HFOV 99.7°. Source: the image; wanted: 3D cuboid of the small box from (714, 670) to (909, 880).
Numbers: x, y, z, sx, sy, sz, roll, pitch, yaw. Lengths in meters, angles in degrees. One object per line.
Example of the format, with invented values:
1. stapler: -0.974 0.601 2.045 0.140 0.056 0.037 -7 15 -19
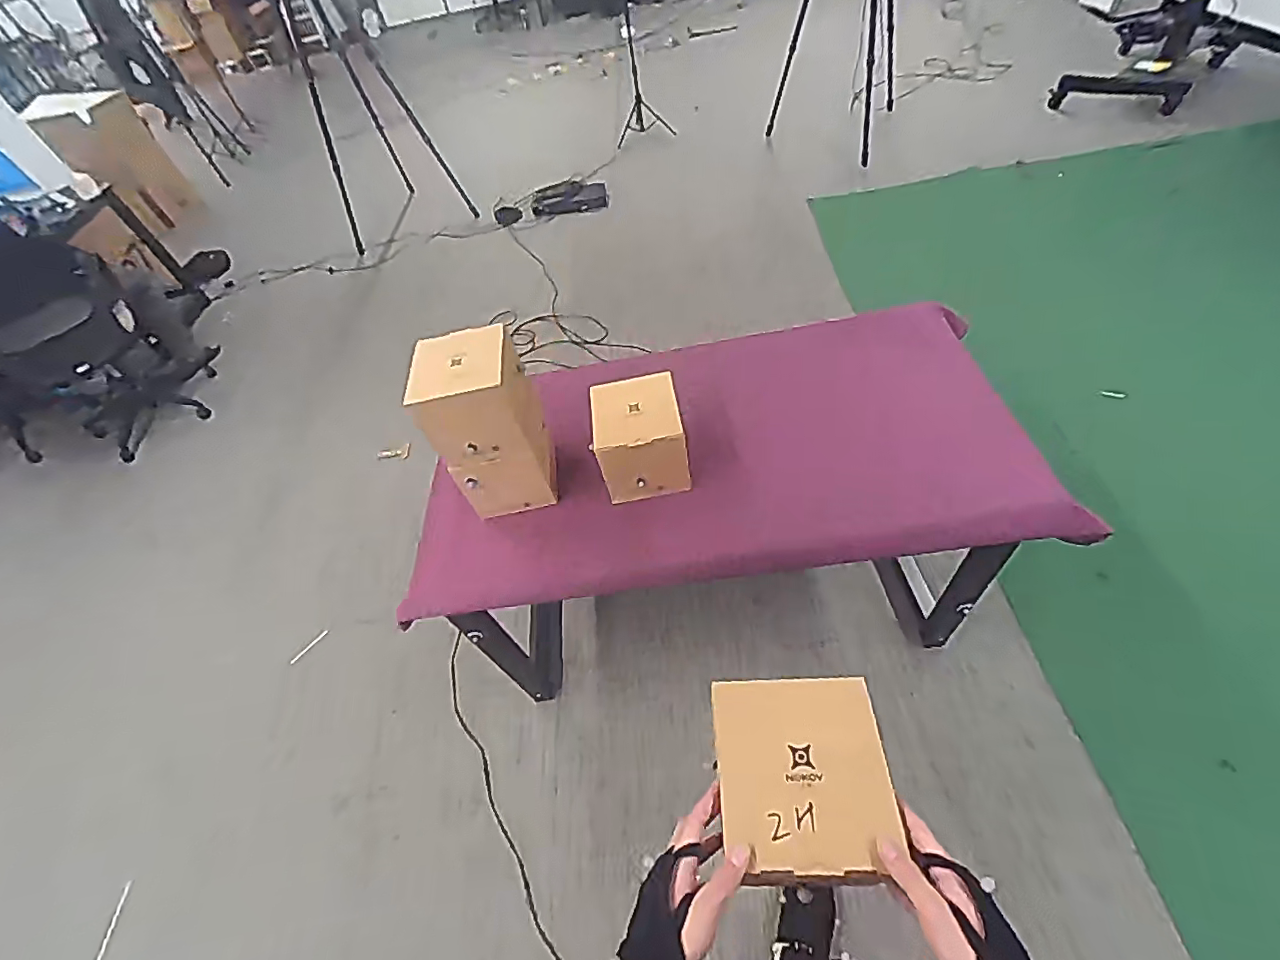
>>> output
1. small box: 0.169 0.328 0.601 0.168 0.176 0.179 -3 50 6

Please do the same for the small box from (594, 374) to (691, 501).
1. small box: 0.006 -0.083 1.085 0.168 0.176 0.179 -10 52 3

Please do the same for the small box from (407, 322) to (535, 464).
1. small box: -0.295 -0.156 0.985 0.168 0.176 0.179 -11 51 3
